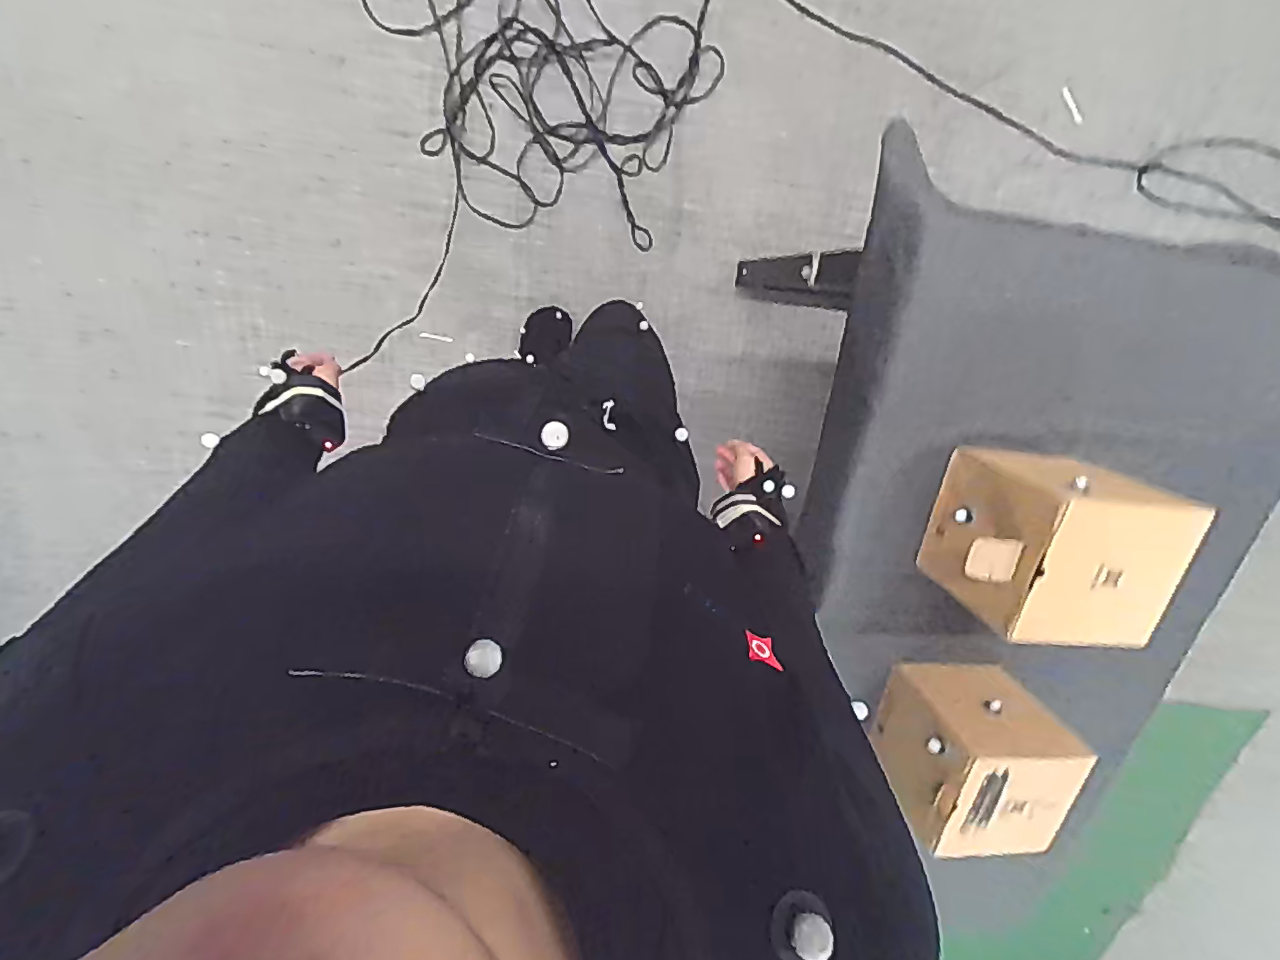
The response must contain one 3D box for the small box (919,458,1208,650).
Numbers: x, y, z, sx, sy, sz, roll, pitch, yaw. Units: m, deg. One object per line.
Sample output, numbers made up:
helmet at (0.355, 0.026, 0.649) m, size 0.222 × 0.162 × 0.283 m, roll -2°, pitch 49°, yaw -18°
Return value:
small box at (0.475, 0.080, 0.638) m, size 0.179 × 0.176 × 0.168 m, roll 4°, pitch 110°, yaw -9°
